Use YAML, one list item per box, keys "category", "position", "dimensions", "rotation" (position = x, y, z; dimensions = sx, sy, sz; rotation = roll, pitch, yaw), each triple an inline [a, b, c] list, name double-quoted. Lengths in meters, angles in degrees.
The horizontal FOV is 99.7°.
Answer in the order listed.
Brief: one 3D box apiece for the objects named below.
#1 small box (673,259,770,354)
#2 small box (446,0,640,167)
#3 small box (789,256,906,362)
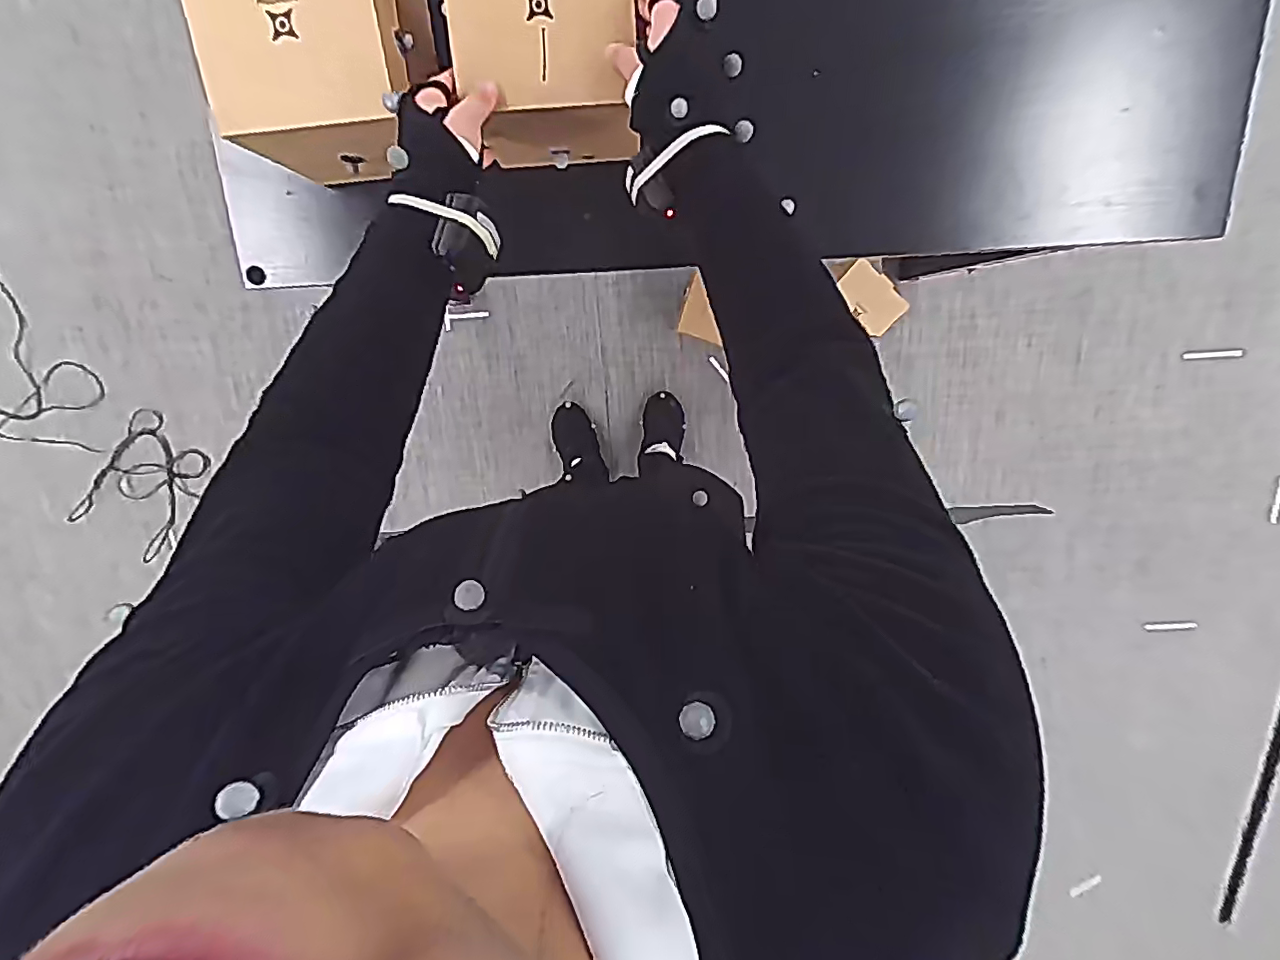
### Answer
- category: "small box"
  position: [0.187, -0.414, 1.306]
  dimensions: [0.179, 0.176, 0.168]
  rotation: [17, 104, -4]
- category: "small box"
  position: [-0.087, -0.438, 0.540]
  dimensions: [0.168, 0.176, 0.179]
  rotation: [-3, 106, 1]
- category: "small box"
  position: [0.491, -0.408, 1.307]
  dimensions: [0.168, 0.176, 0.179]
  rotation: [39, 102, -10]
